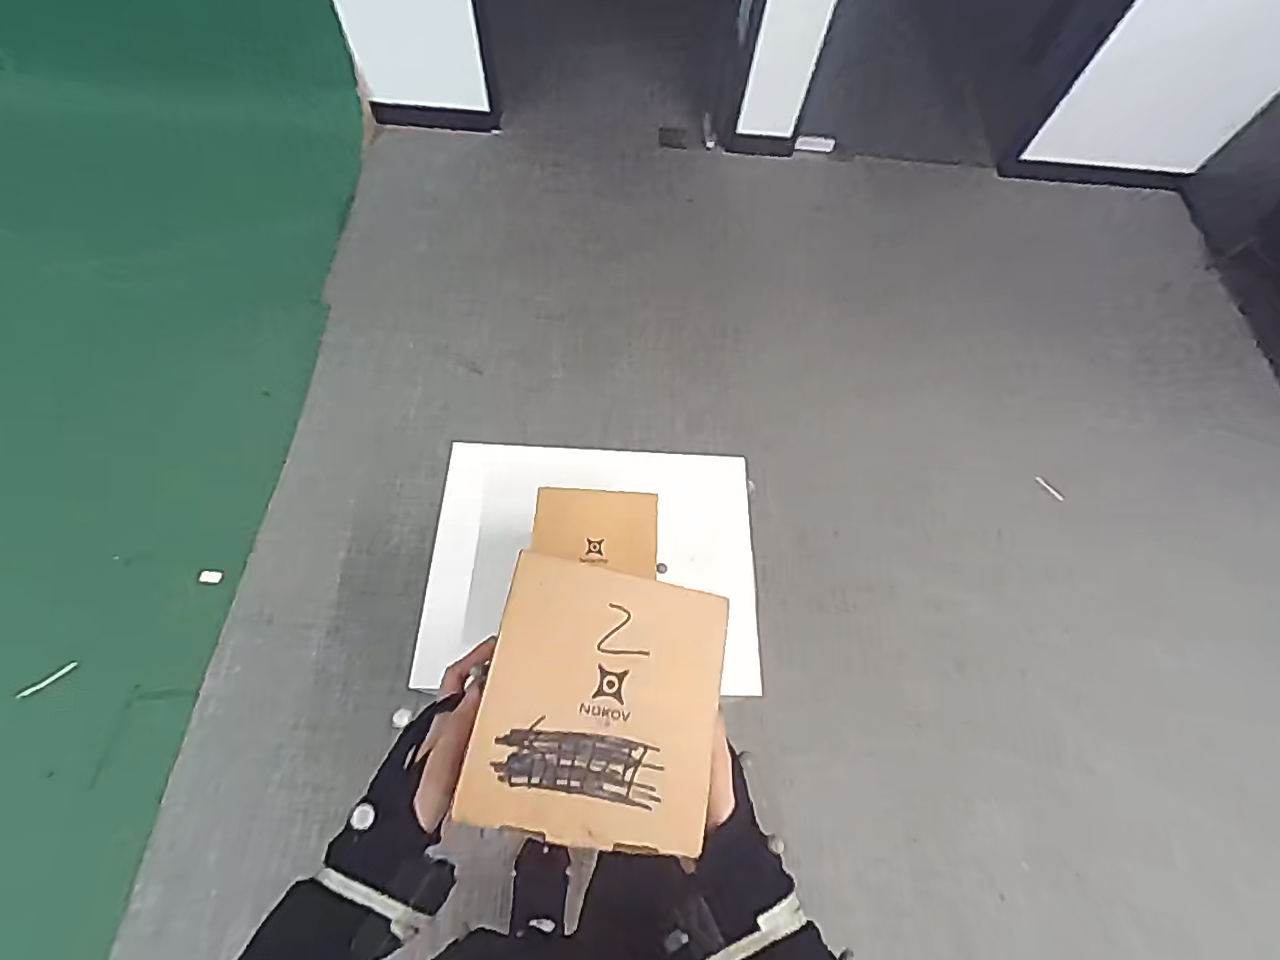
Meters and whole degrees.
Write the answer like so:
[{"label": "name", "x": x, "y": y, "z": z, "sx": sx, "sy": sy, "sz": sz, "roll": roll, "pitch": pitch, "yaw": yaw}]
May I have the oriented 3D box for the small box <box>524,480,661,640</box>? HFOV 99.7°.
[{"label": "small box", "x": -0.063, "y": 0.118, "z": 0.762, "sx": 0.168, "sy": 0.176, "sz": 0.179, "roll": 3, "pitch": 64, "yaw": -3}]
